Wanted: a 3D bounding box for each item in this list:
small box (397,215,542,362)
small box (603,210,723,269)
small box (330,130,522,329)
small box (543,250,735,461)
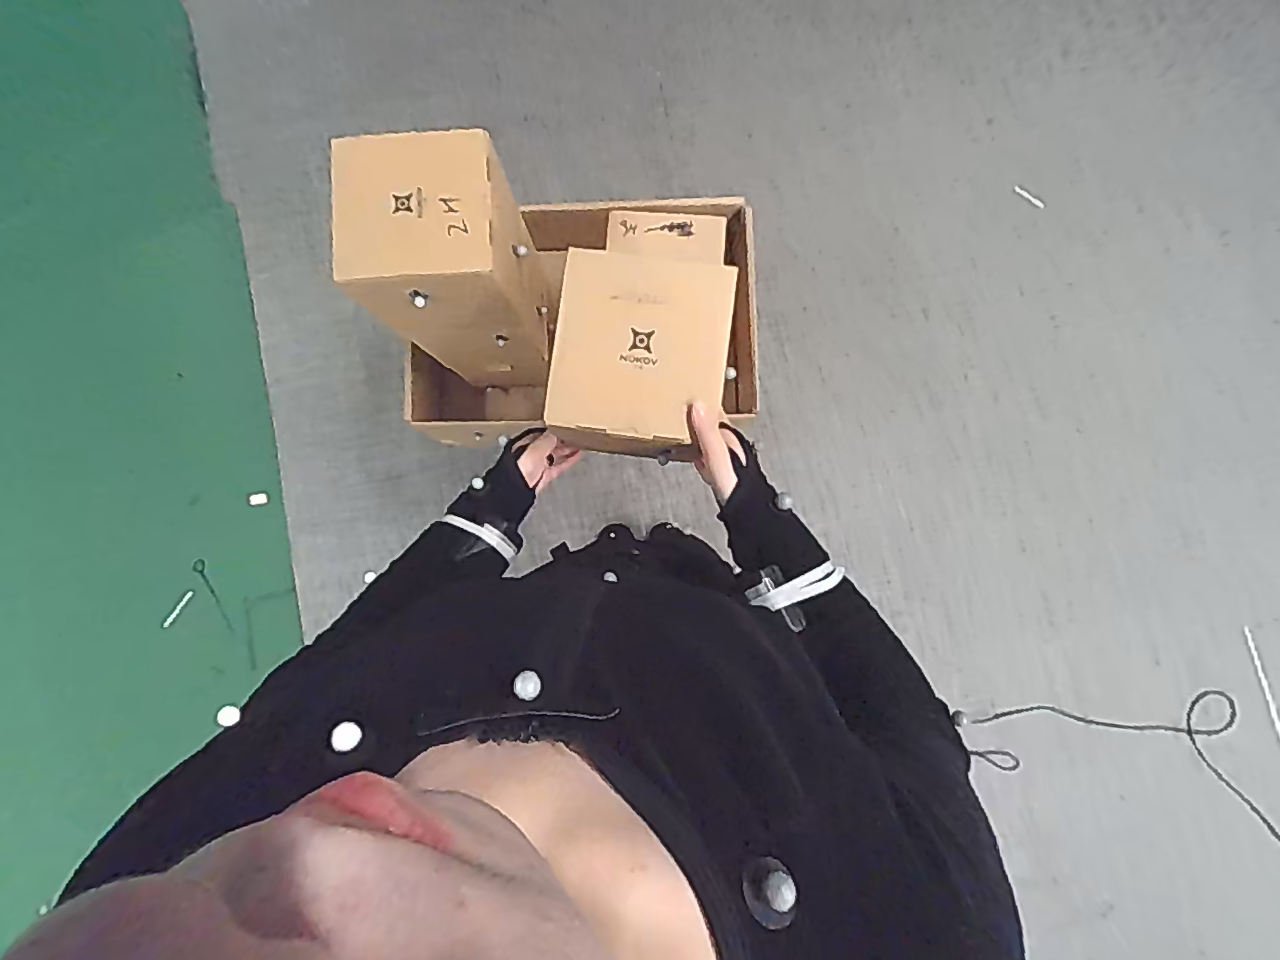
[{"bbox_3d":[-0.253,-0.285,0.834,0.179,0.176,0.168,-2,86,-1],"label":"small box"},{"bbox_3d":[0.029,-0.280,0.828,0.168,0.176,0.179,5,86,1],"label":"small box"},{"bbox_3d":[-0.251,-0.295,0.670,0.179,0.176,0.168,-3,86,-1],"label":"small box"},{"bbox_3d":[0.000,-0.121,0.595,0.168,0.176,0.179,8,85,0],"label":"small box"}]
